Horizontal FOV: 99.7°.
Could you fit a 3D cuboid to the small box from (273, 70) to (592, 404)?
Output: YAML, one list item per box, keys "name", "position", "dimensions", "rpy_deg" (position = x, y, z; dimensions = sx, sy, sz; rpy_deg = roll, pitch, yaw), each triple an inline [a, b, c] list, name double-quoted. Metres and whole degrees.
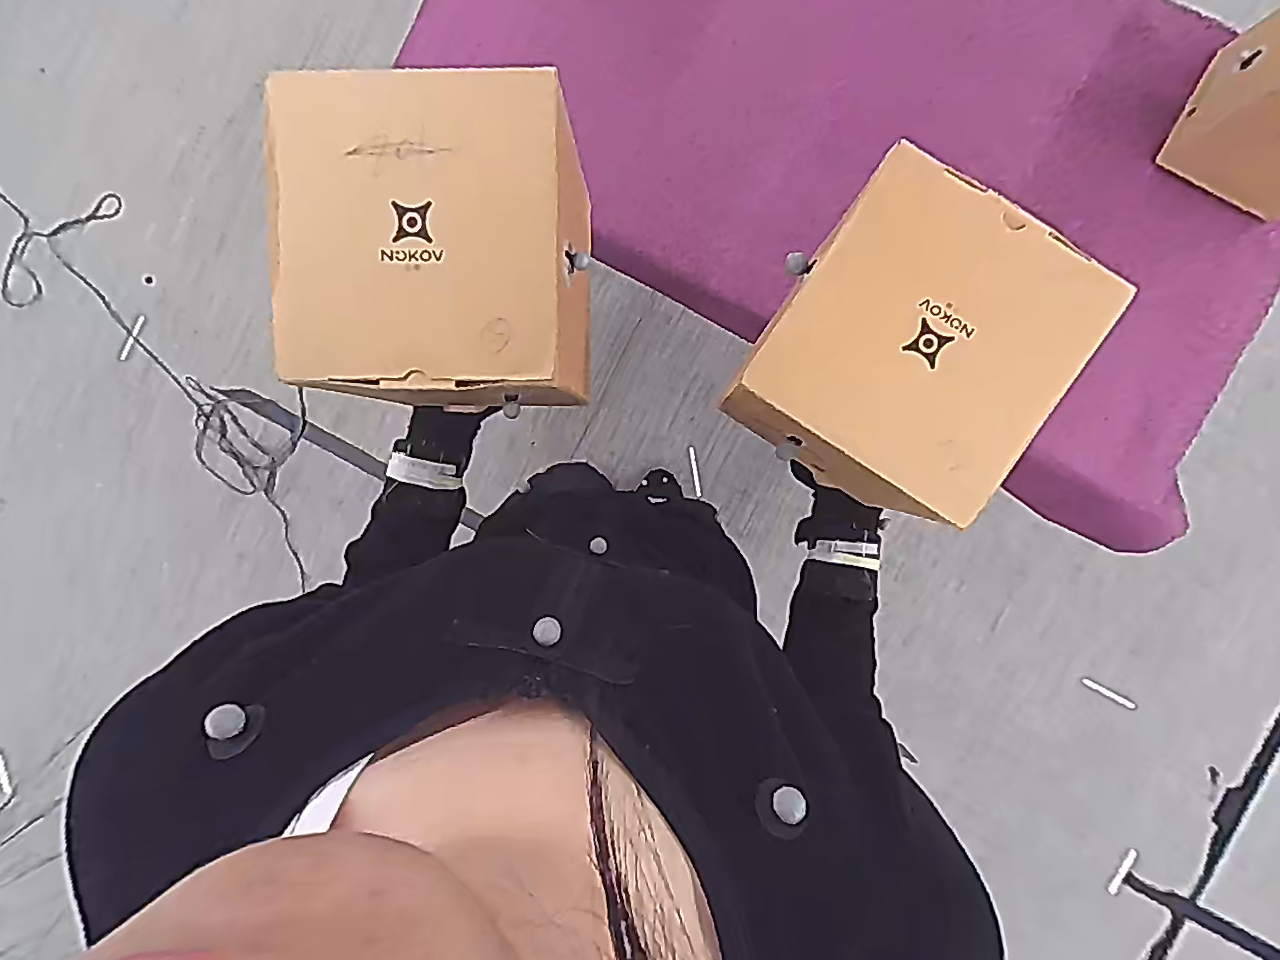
- name: "small box"
  position: [-0.124, -0.147, 0.388]
  dimensions: [0.168, 0.176, 0.179]
  rpy_deg: [0, 93, 0]

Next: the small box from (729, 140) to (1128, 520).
- name: "small box"
  position: [0.181, -0.091, 0.406]
  dimensions: [0.168, 0.176, 0.179]
  rpy_deg: [33, 92, 1]

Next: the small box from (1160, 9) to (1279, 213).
- name: "small box"
  position: [0.798, -0.456, 0.643]
  dimensions: [0.179, 0.176, 0.168]
  rpy_deg: [29, 93, 0]
